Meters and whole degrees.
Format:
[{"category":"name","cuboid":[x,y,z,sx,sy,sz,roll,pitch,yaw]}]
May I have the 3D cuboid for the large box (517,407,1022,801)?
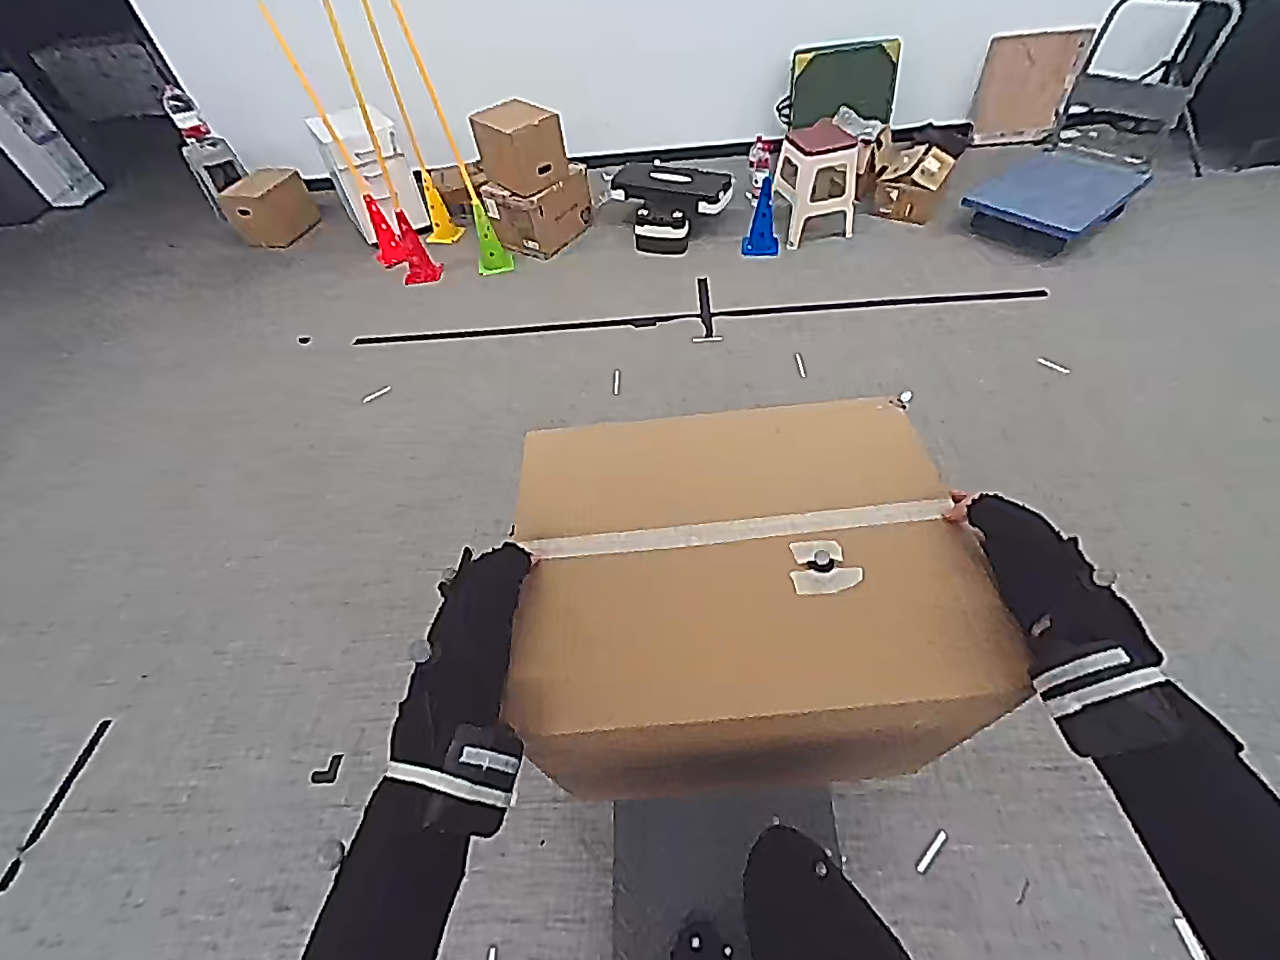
[{"category":"large box","cuboid":[0.099,0.151,0.624,0.408,0.320,0.320,-6,51,1]}]
